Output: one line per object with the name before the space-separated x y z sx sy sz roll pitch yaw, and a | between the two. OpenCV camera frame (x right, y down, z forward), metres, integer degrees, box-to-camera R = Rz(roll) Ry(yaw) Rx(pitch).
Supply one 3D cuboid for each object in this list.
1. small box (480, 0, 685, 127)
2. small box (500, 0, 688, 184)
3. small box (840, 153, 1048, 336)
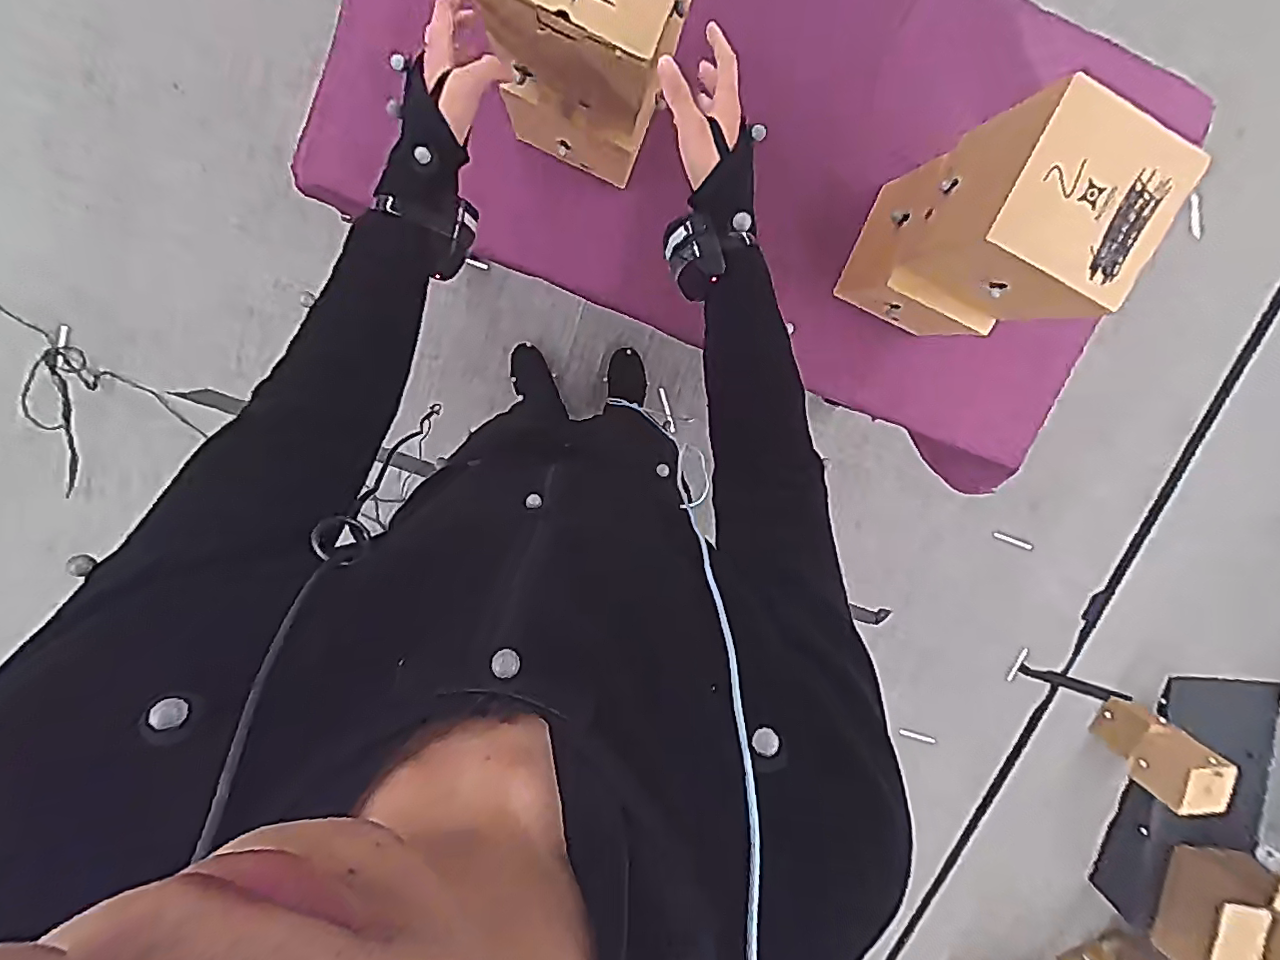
small box | -0.042 -0.486 0.520 0.168 0.176 0.179 21 101 -11
small box | -0.058 -0.510 0.683 0.168 0.176 0.179 22 102 -11
small box | 0.417 -0.320 0.780 0.168 0.176 0.179 21 101 -10
